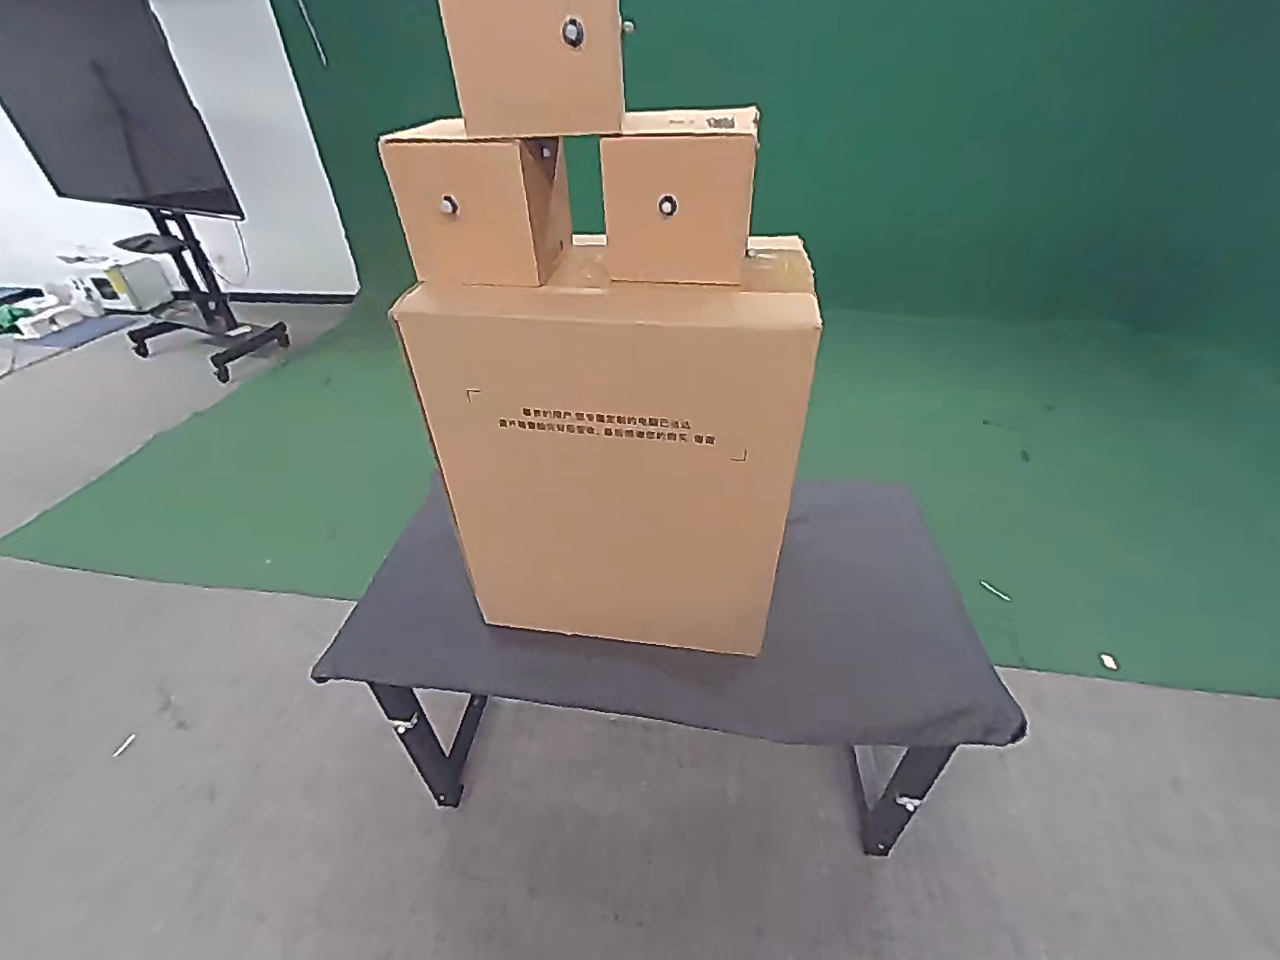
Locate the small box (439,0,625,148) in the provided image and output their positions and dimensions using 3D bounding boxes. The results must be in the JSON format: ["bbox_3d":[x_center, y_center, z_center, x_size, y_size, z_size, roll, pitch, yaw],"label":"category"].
[{"bbox_3d":[-0.109,-0.488,0.615,0.179,0.176,0.168,-2,39,2],"label":"small box"}]

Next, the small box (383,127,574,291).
[{"bbox_3d":[-0.201,-0.367,0.730,0.179,0.176,0.168,6,42,9],"label":"small box"}]

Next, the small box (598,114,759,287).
[{"bbox_3d":[0.056,-0.363,0.707,0.179,0.176,0.168,5,42,10],"label":"small box"}]
